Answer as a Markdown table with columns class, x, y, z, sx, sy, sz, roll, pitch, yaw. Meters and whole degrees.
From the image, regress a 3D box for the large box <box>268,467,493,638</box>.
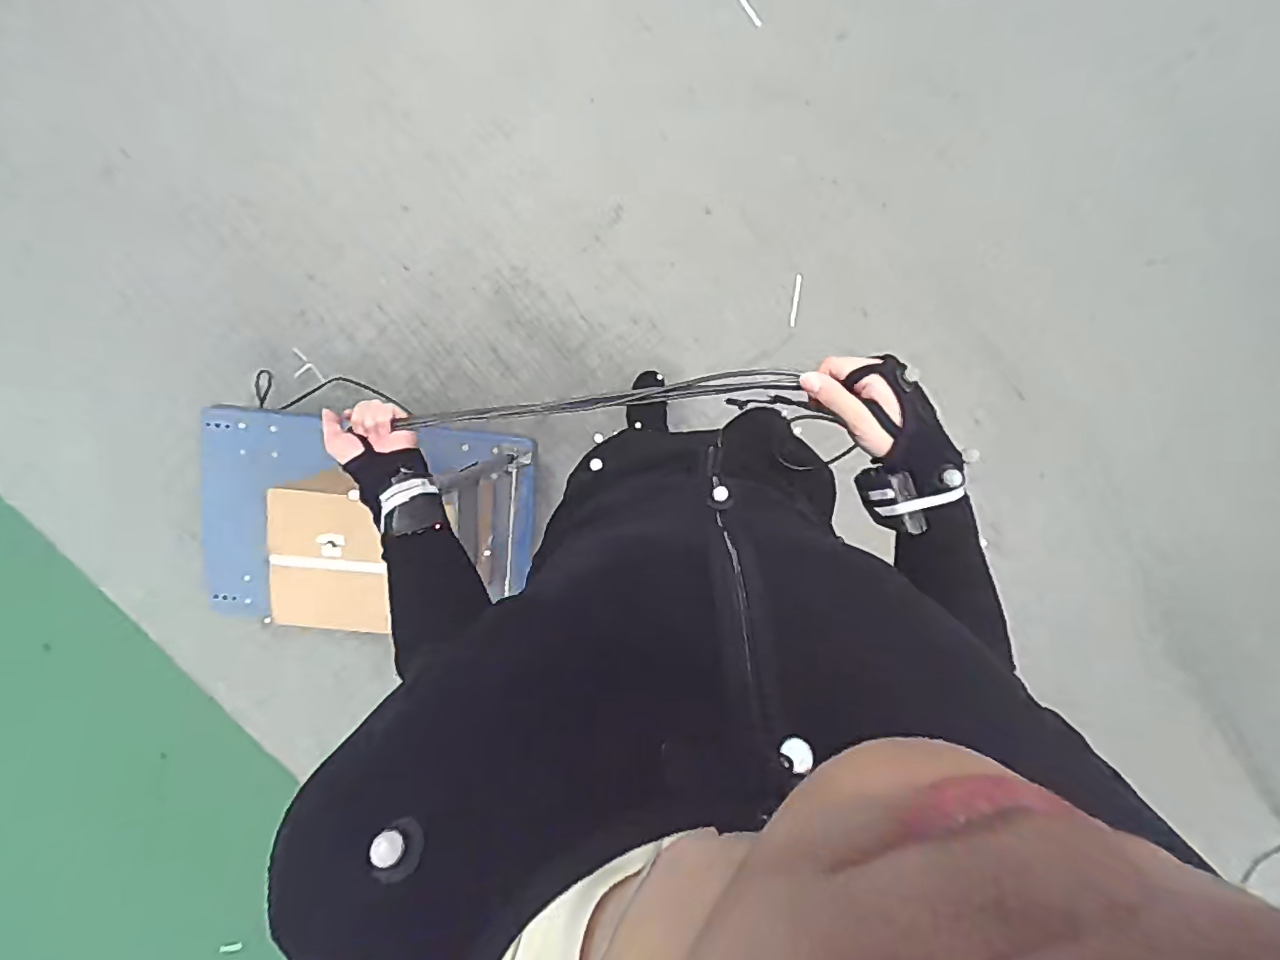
| class | x | y | z | sx | sy | sz | roll | pitch | yaw |
| --- | --- | --- | --- | --- | --- | --- | --- | --- | --- |
| large box | -0.593 | 0.156 | 1.306 | 0.408 | 0.320 | 0.320 | 6 | 100 | -1 |
